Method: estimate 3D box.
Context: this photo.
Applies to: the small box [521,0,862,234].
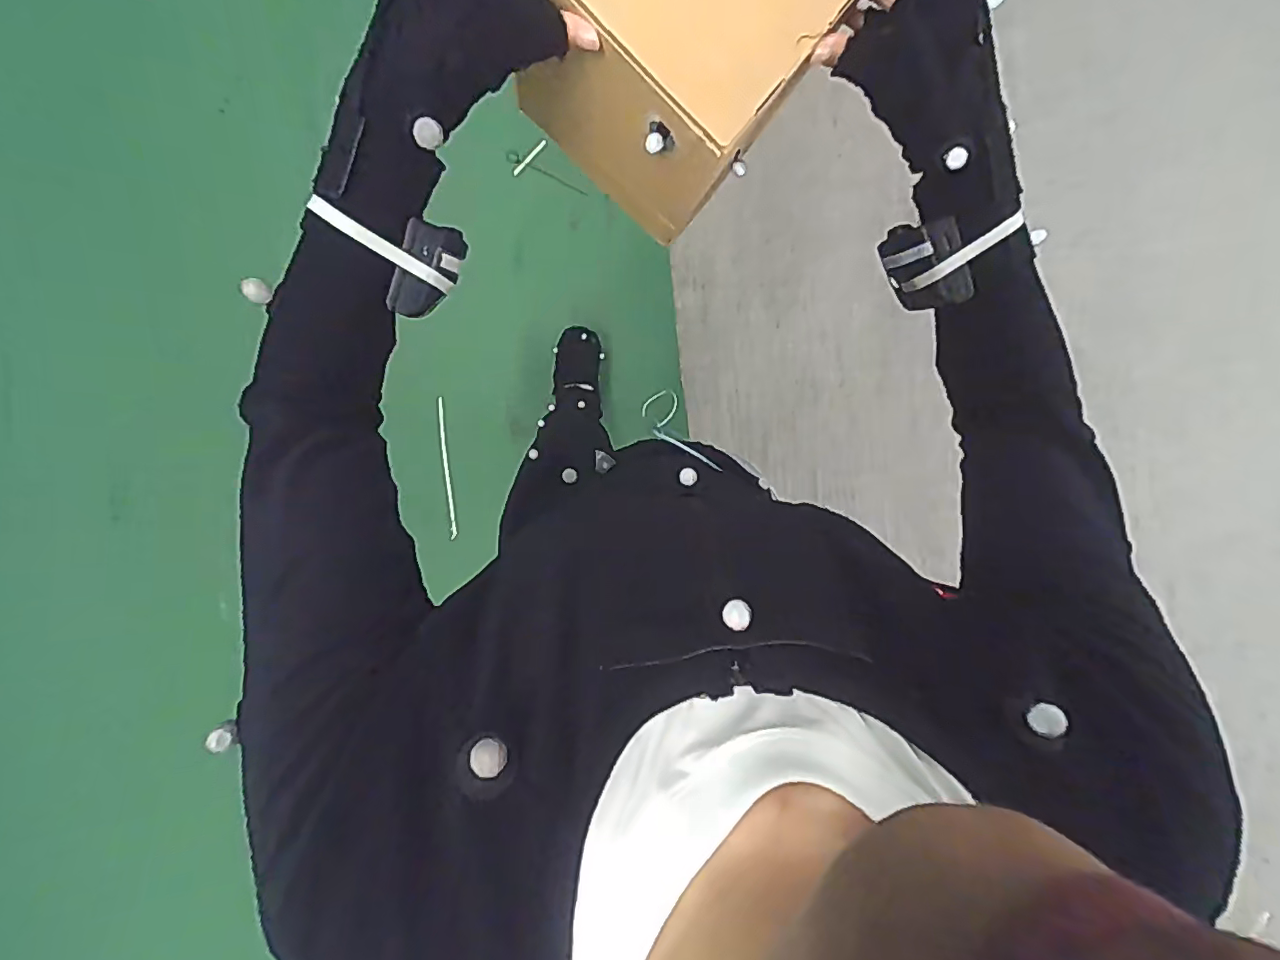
[{"bbox_3d":[0.024,-0.324,0.402,0.179,0.176,0.168,41,87,-11],"label":"small box"}]
